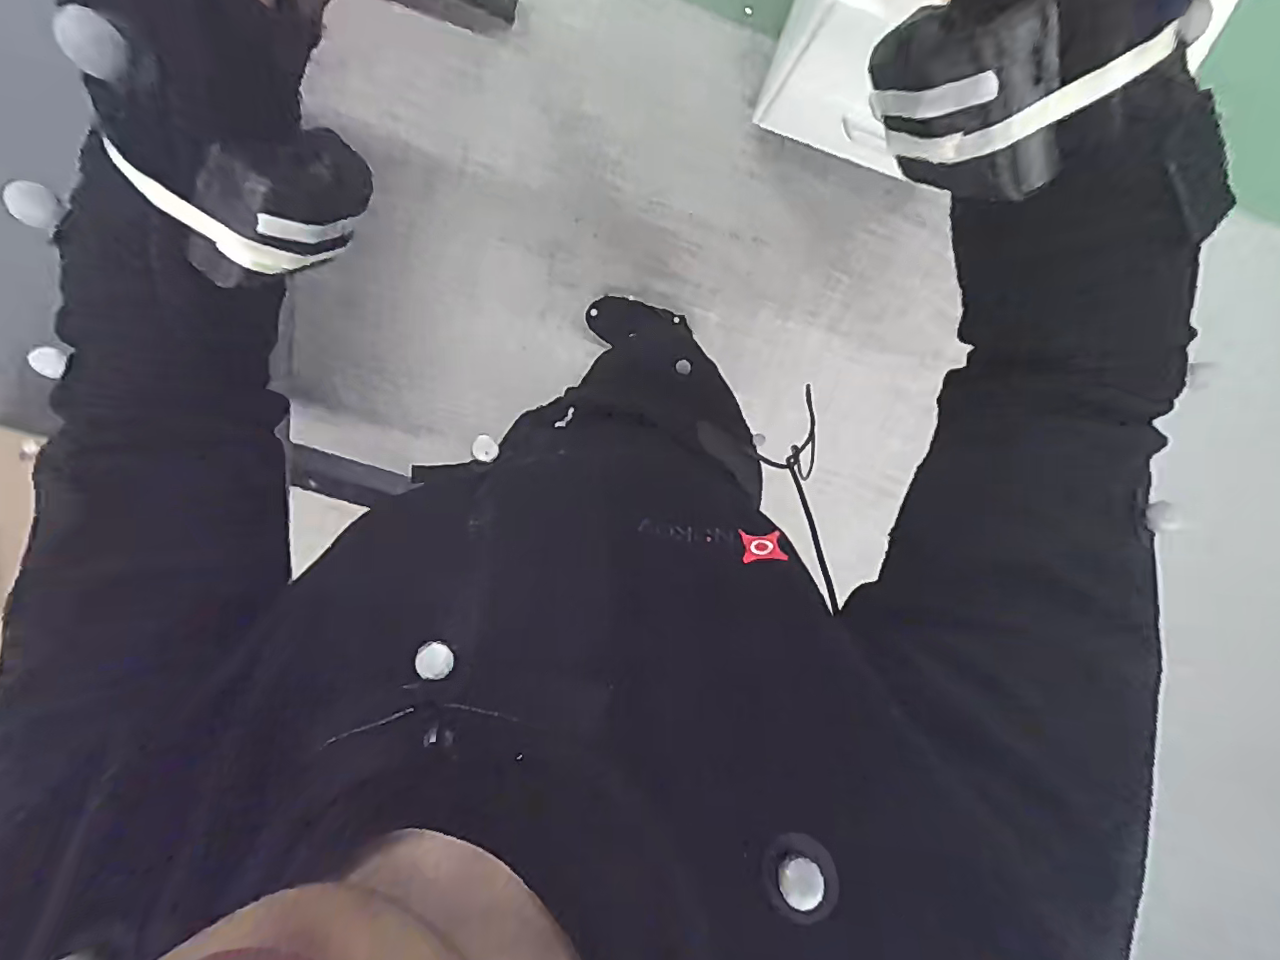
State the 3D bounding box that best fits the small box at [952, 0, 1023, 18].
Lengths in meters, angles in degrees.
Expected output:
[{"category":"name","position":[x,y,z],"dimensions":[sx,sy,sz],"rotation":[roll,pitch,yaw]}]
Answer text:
[{"category":"small box","position":[0.319,-0.541,0.450],"dimensions":[0.168,0.176,0.179],"rotation":[17,110,-5]}]
